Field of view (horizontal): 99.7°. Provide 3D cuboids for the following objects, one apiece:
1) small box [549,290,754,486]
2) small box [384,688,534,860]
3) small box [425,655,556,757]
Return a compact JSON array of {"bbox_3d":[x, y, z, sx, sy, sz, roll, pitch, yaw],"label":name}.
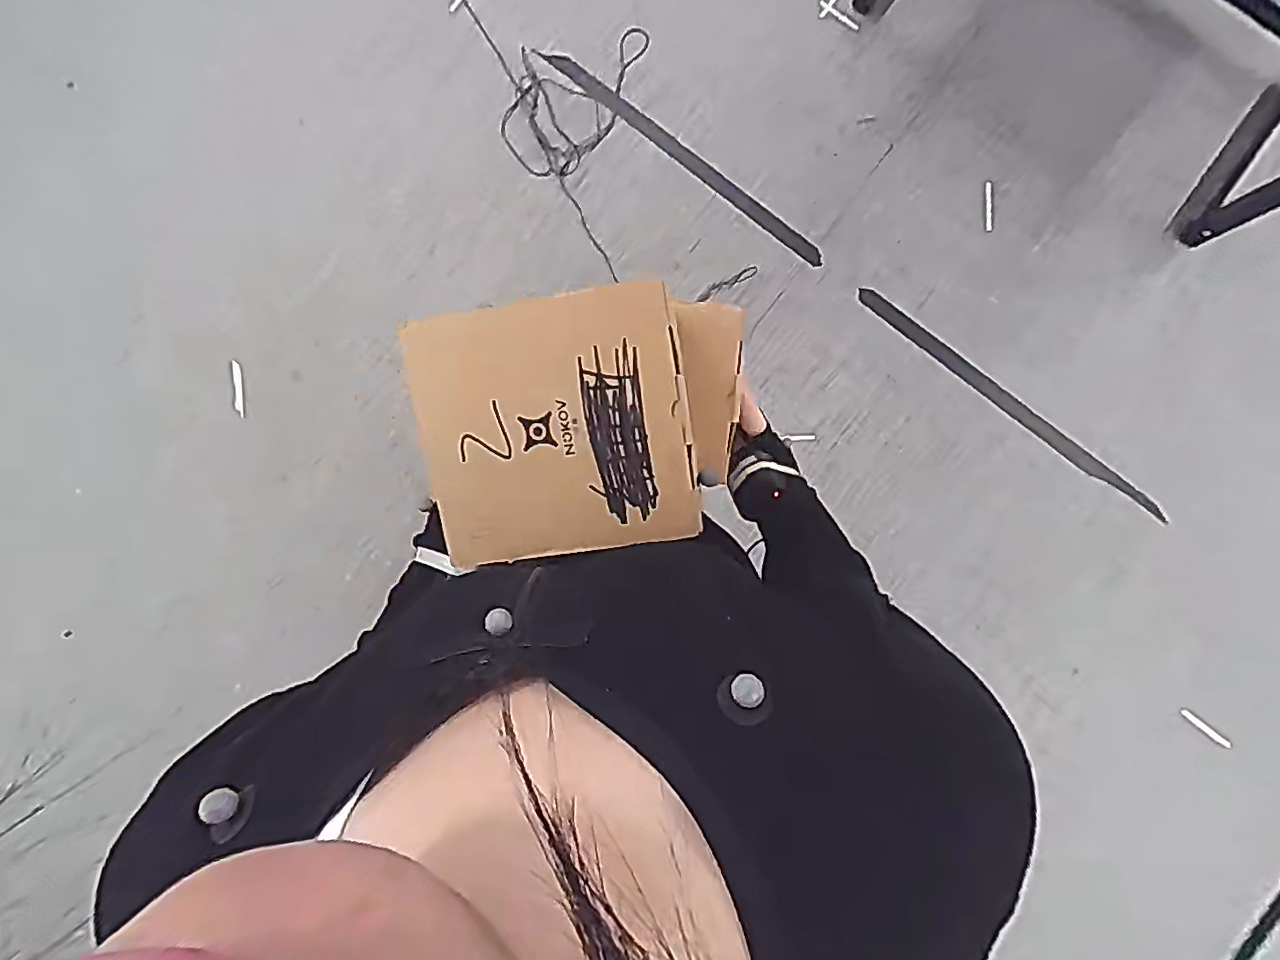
[{"bbox_3d":[0.011,-0.097,0.583,0.179,0.176,0.168,7,99,2],"label":"small box"},{"bbox_3d":[-0.303,0.500,0.953,0.168,0.176,0.179,30,89,3],"label":"small box"},{"bbox_3d":[-0.296,0.492,1.116,0.168,0.176,0.179,-45,87,-2],"label":"small box"}]
